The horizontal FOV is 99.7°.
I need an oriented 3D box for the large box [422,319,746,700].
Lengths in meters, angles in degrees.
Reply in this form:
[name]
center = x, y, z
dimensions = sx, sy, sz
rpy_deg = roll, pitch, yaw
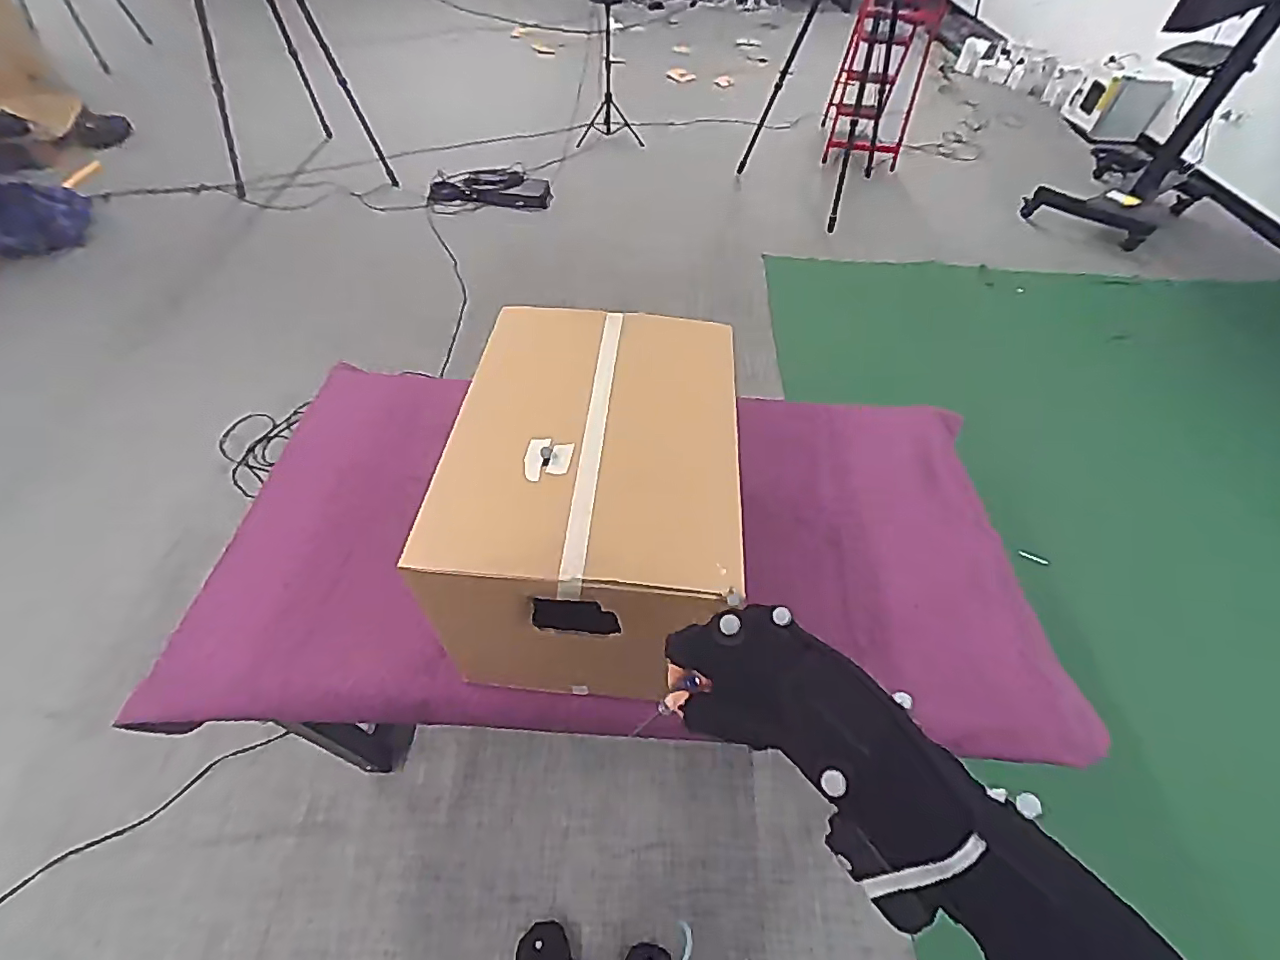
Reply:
[large box]
center = -0.050, 0.039, 0.739
dimensions = 0.320, 0.320, 0.408
rpy_deg = 5, 52, 1
